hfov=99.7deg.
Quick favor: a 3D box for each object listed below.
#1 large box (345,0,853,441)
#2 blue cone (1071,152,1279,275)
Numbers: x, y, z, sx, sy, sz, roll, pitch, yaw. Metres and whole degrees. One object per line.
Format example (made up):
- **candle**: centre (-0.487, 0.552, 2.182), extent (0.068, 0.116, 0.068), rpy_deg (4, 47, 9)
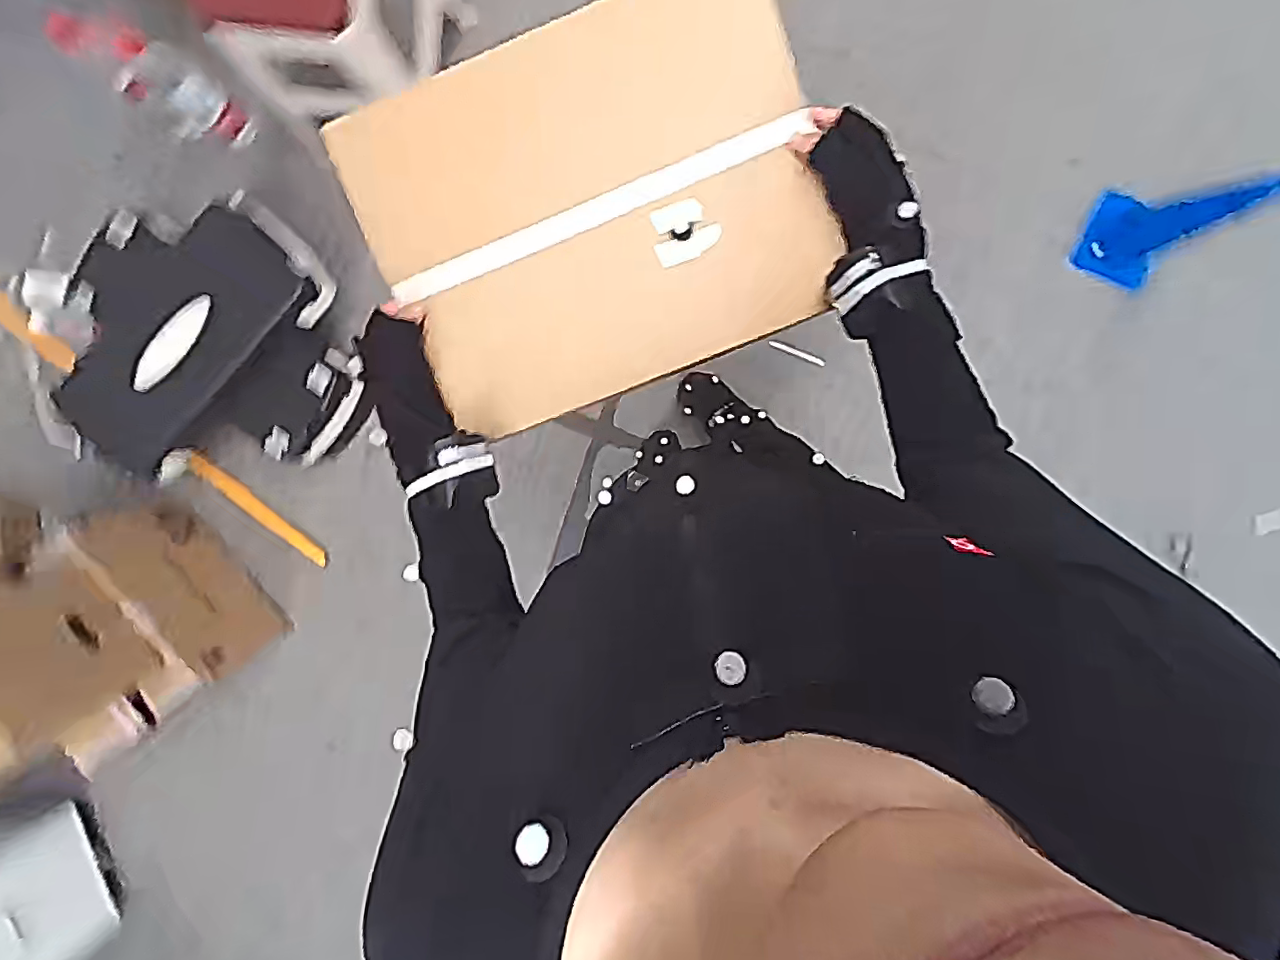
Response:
- **large box**: centre (-0.034, -0.267, 0.645), extent (0.408, 0.320, 0.320), rpy_deg (-20, 99, 4)
- **blue cone**: centre (1.194, -0.607, 1.195), extent (0.193, 0.380, 0.192), rpy_deg (23, 97, -1)
